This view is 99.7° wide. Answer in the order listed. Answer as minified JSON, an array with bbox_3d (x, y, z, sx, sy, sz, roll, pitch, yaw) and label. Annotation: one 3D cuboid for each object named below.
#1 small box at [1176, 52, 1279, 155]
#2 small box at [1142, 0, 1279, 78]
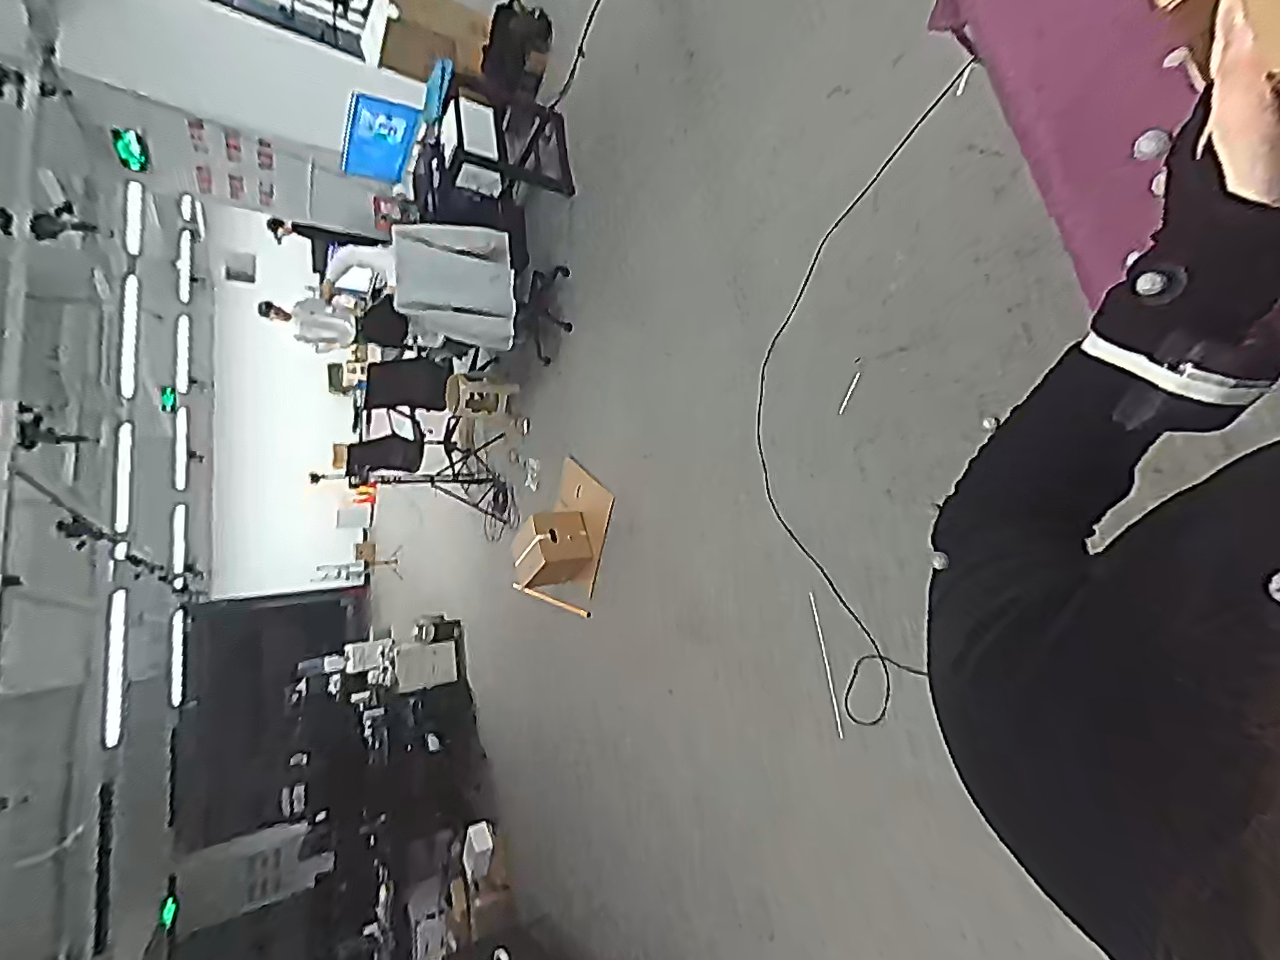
[{"bbox_3d":[0.593,-0.426,0.465,0.179,0.176,0.168,-26,69,53],"label":"small box"},{"bbox_3d":[0.455,-0.429,0.376,0.168,0.176,0.179,-27,67,53],"label":"small box"}]
